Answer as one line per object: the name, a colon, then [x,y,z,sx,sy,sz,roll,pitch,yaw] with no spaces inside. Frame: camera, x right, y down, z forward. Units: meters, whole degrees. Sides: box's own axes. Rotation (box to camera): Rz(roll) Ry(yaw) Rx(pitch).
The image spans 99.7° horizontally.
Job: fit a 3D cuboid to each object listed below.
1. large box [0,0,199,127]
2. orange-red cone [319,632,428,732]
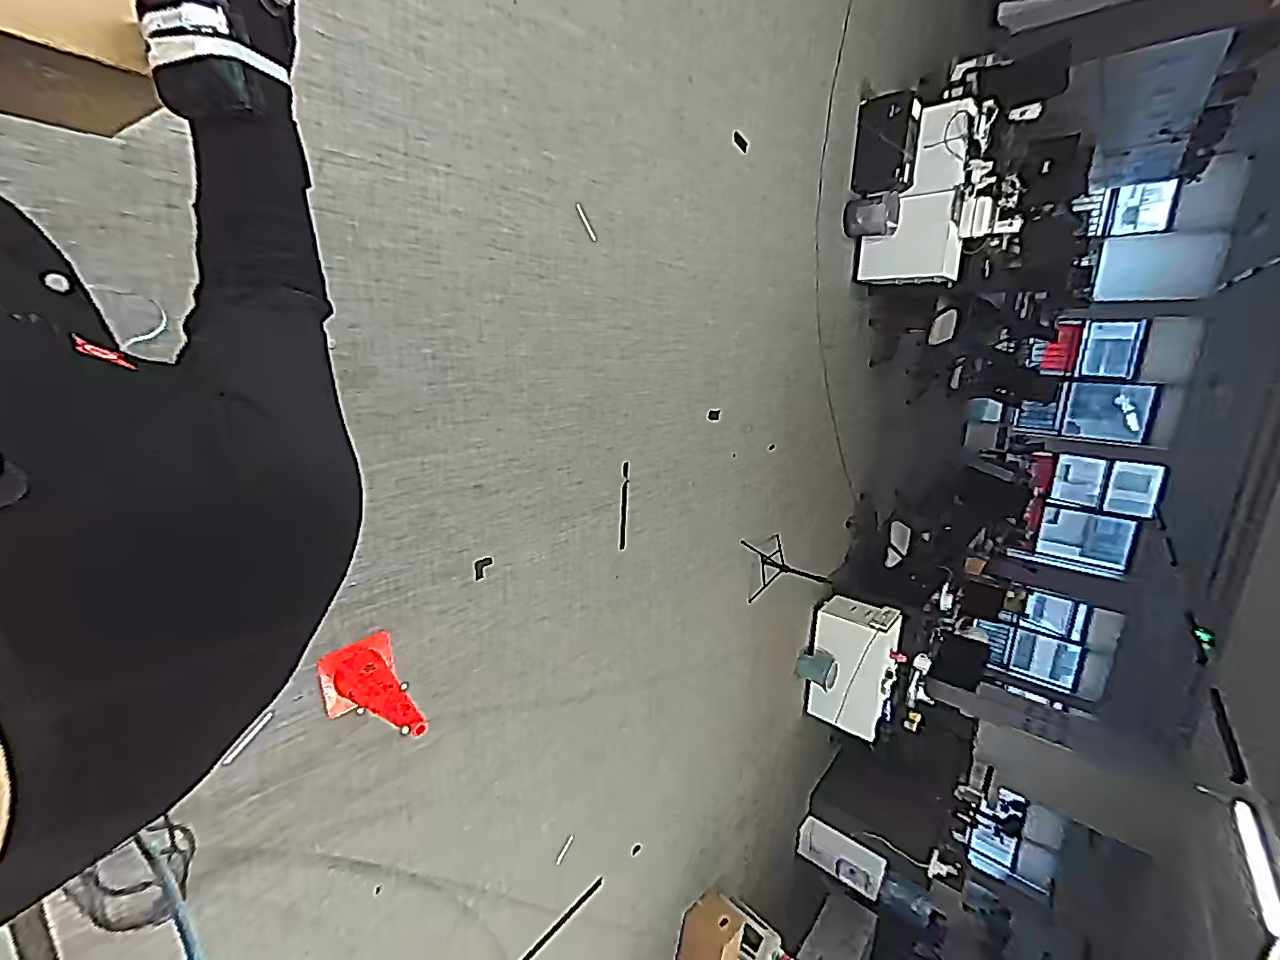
large box: [-0.539,-0.432,0.276,0.408,0.320,0.320,-15,117,-50]
orange-red cone: [-0.689,0.590,1.471,0.198,0.360,0.199,-19,114,-48]
